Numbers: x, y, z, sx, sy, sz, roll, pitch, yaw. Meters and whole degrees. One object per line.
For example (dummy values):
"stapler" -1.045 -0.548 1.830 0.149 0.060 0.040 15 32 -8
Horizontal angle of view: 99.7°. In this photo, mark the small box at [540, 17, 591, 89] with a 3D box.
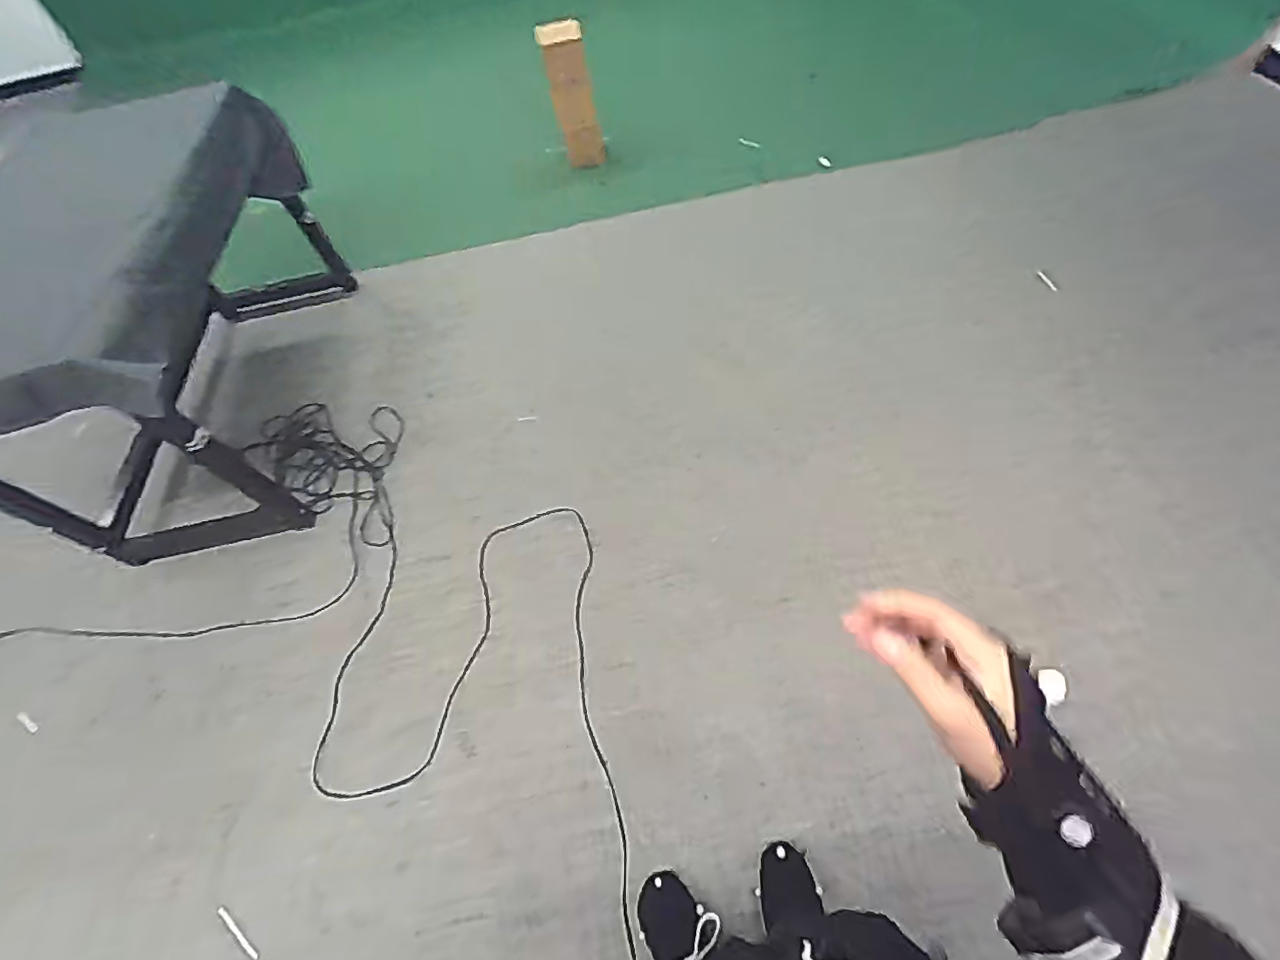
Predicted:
"small box" -0.303 -1.738 2.206 0.168 0.176 0.179 -13 58 2

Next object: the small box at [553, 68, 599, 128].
"small box" -0.278 -1.660 2.347 0.168 0.176 0.179 -10 58 2
